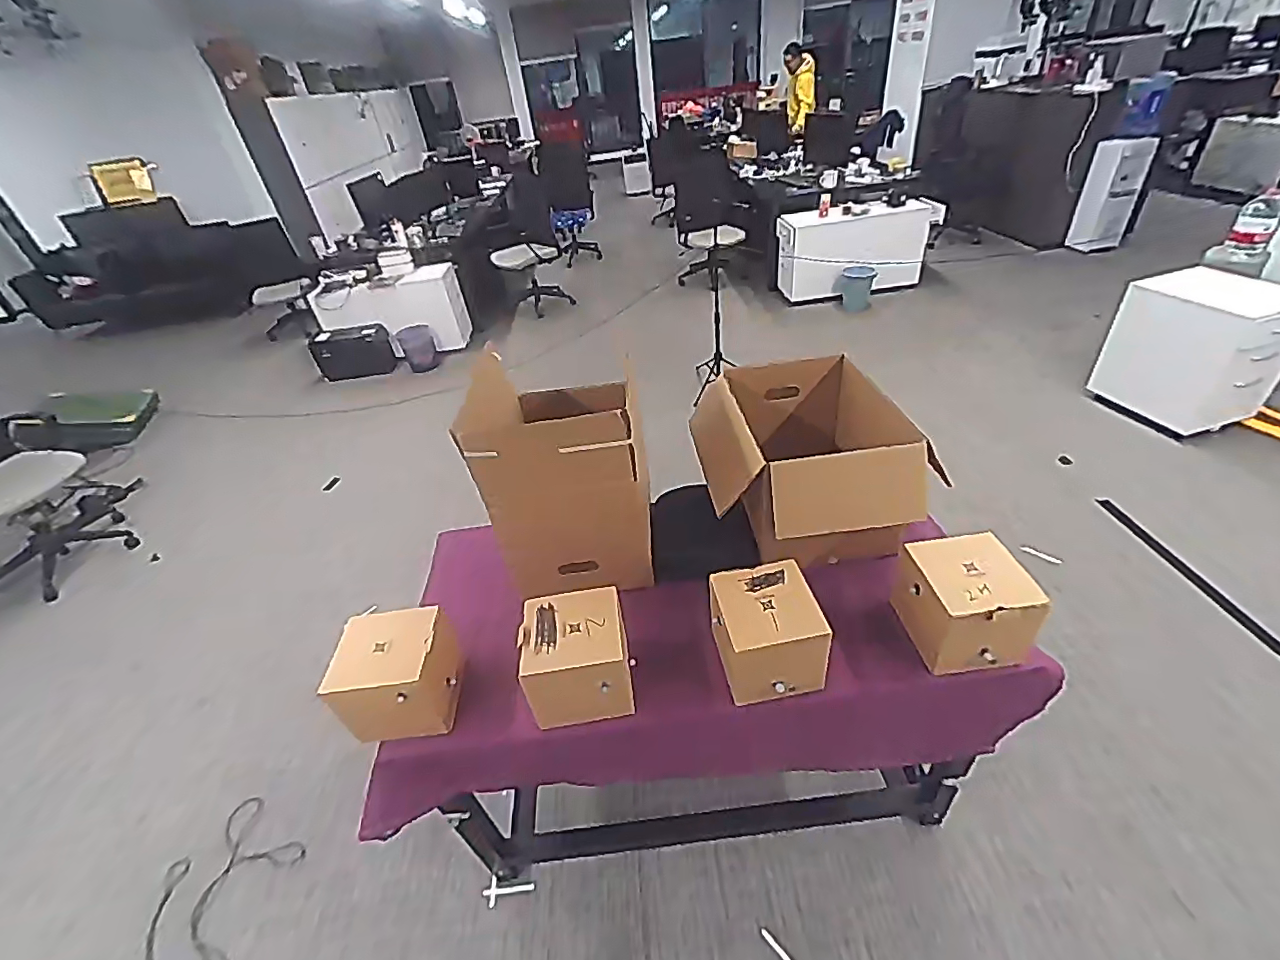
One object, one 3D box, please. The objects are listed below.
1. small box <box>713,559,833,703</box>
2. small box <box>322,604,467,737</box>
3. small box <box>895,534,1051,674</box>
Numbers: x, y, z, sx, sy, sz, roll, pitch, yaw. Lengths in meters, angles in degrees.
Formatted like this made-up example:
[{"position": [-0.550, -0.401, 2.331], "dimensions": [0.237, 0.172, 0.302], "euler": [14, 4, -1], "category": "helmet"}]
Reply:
[{"position": [0.233, 0.276, 0.992], "dimensions": [0.168, 0.176, 0.179], "euler": [-10, 38, -2], "category": "small box"}, {"position": [-0.446, 0.359, 1.014], "dimensions": [0.179, 0.176, 0.168], "euler": [-7, 37, 0], "category": "small box"}, {"position": [0.589, 0.224, 0.987], "dimensions": [0.168, 0.176, 0.179], "euler": [-8, 37, 2], "category": "small box"}]
